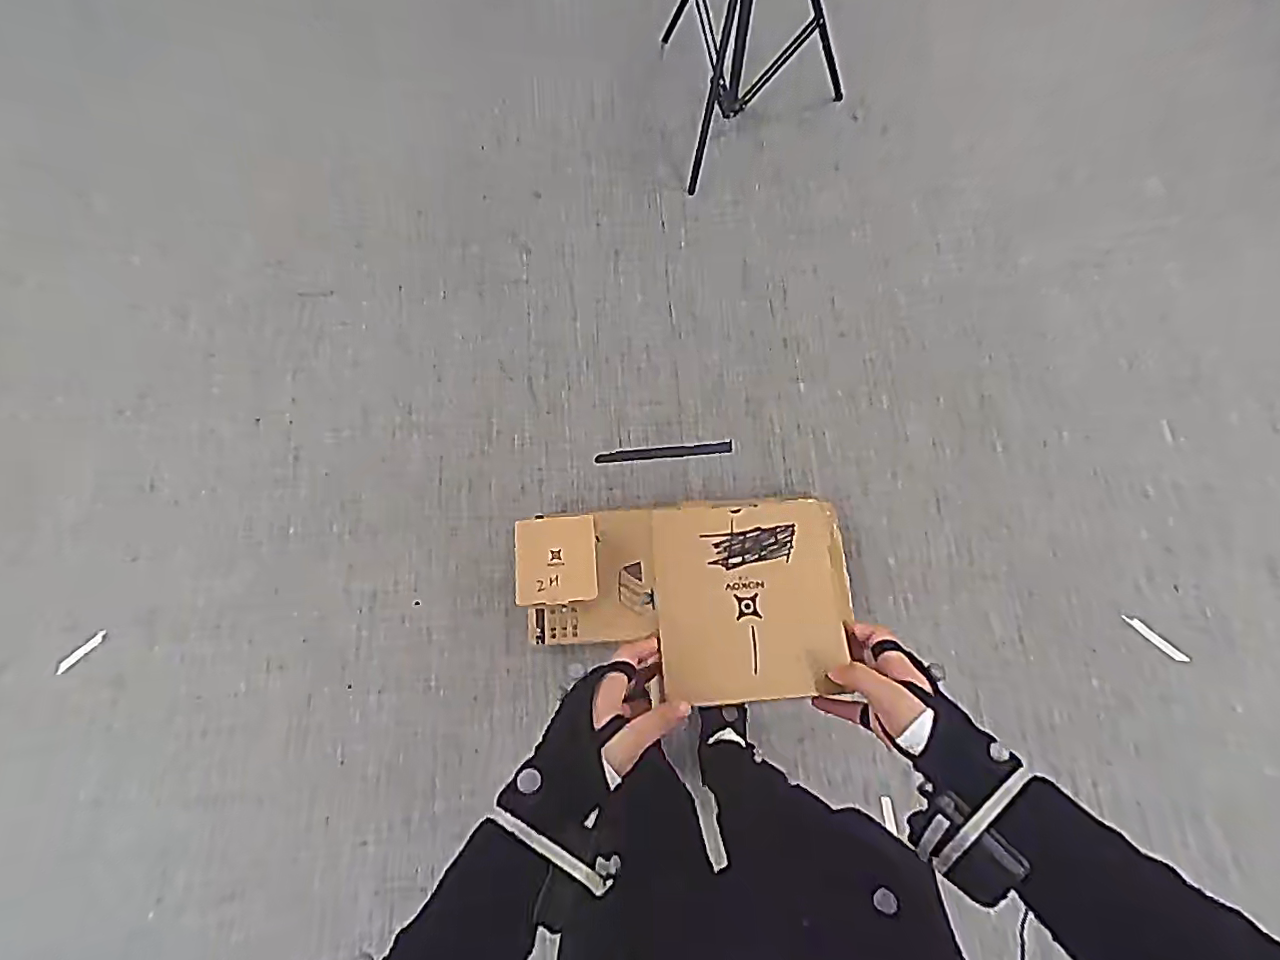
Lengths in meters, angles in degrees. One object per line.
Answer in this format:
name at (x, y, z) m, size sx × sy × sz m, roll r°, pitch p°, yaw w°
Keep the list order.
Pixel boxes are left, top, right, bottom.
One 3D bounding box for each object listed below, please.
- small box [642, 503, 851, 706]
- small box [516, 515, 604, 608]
small box at (0.091, 0.136, 0.563) m, size 0.168 × 0.176 × 0.179 m, roll -3°, pitch 68°, yaw -4°
small box at (-0.169, 0.181, 1.176) m, size 0.168 × 0.176 × 0.179 m, roll -4°, pitch 75°, yaw 0°
